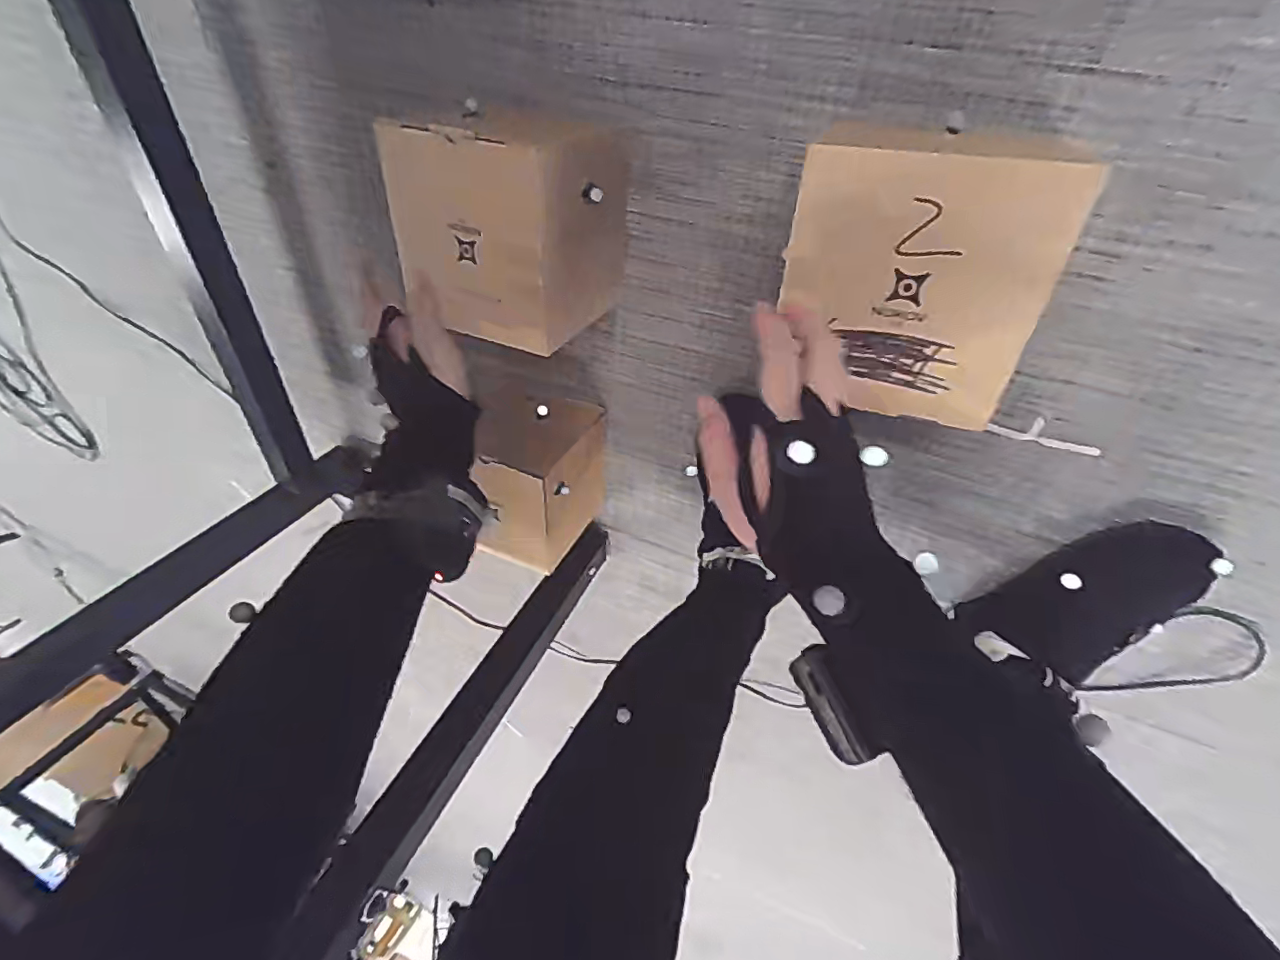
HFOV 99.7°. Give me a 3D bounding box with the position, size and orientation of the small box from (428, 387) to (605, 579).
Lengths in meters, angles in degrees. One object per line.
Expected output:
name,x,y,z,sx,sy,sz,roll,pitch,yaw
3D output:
small box,-0.158,-0.001,0.748,0.168,0.176,0.179,17,130,17

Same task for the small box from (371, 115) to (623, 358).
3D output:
small box,-0.126,-0.251,0.542,0.168,0.176,0.179,19,131,16
